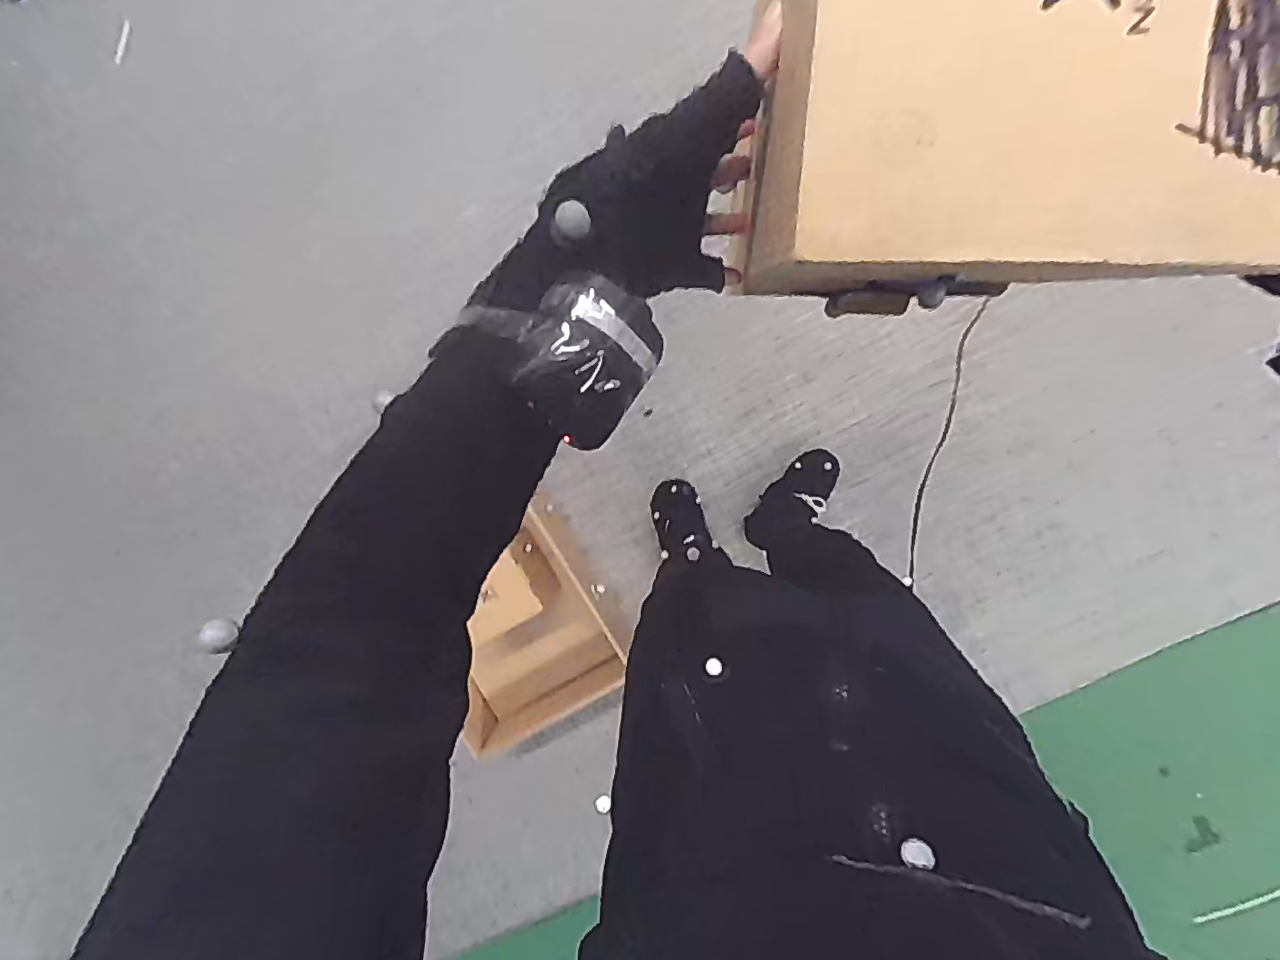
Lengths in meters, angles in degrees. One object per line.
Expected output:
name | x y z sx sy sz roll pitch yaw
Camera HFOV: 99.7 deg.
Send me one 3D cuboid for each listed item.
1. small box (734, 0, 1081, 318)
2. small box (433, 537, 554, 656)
small box | 0.163 -0.218 0.402 0.168 0.176 0.179 3 109 3
small box | -0.300 0.240 1.164 0.179 0.176 0.168 -30 92 7
